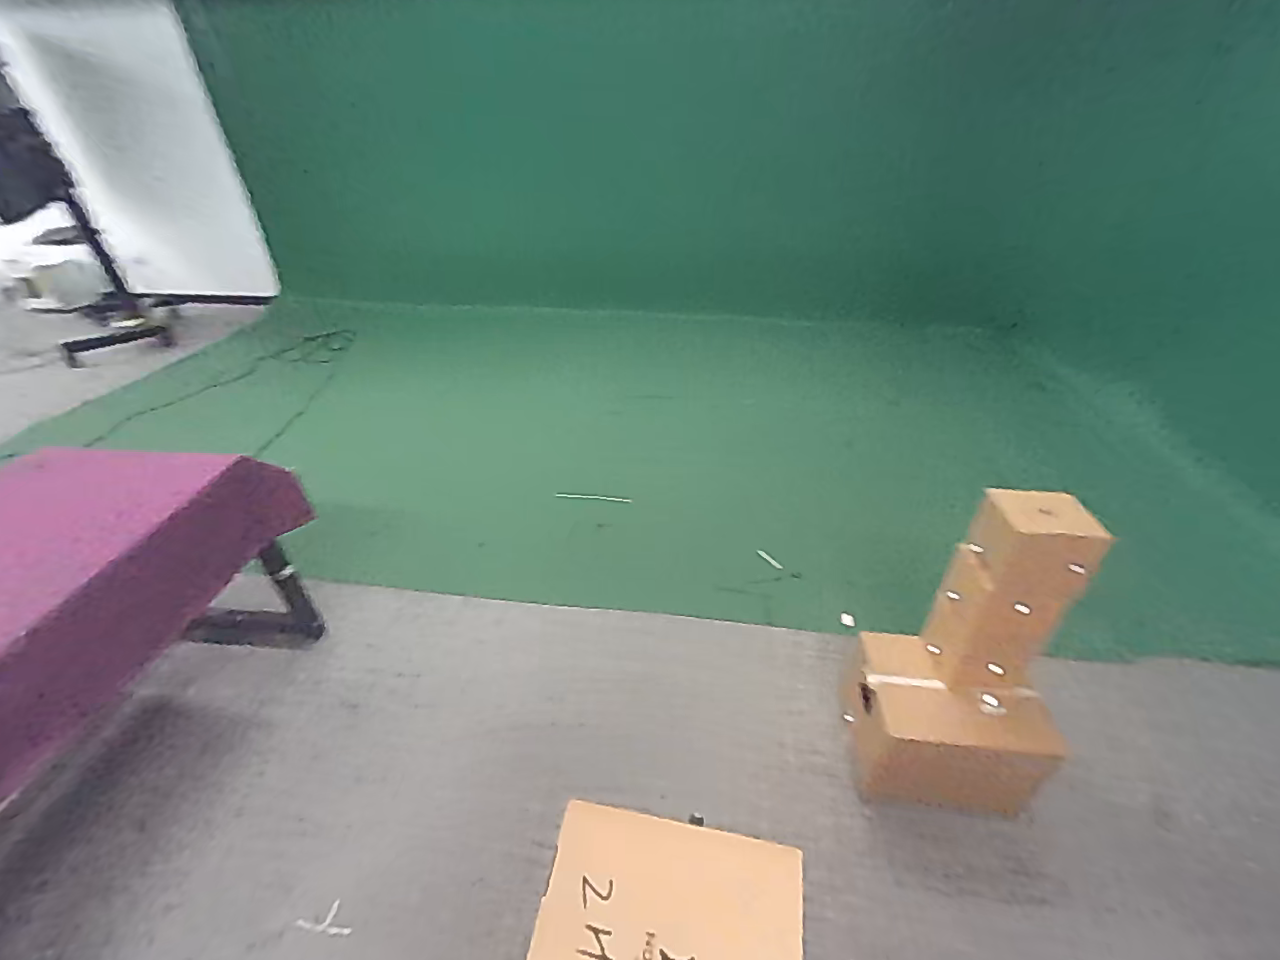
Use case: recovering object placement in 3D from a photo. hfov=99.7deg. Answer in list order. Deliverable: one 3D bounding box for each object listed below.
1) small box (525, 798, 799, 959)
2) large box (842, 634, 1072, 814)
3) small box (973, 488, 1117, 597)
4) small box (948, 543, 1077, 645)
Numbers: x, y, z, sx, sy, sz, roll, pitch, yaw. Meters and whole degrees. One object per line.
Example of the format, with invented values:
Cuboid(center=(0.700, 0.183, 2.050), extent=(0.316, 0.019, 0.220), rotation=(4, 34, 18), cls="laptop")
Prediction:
Cuboid(center=(0.017, 0.366, 0.409), extent=(0.179, 0.176, 0.168), rotation=(6, 49, 11), cls="small box")
Cuboid(center=(0.806, 0.649, 1.453), extent=(0.408, 0.320, 0.320), rotation=(4, 35, 5), cls="large box")
Cuboid(center=(0.873, 0.138, 1.187), extent=(0.179, 0.176, 0.168), rotation=(3, 32, 8), cls="small box")
Cuboid(center=(0.868, 0.271, 1.280), extent=(0.179, 0.176, 0.168), rotation=(3, 33, 6), cls="small box")
